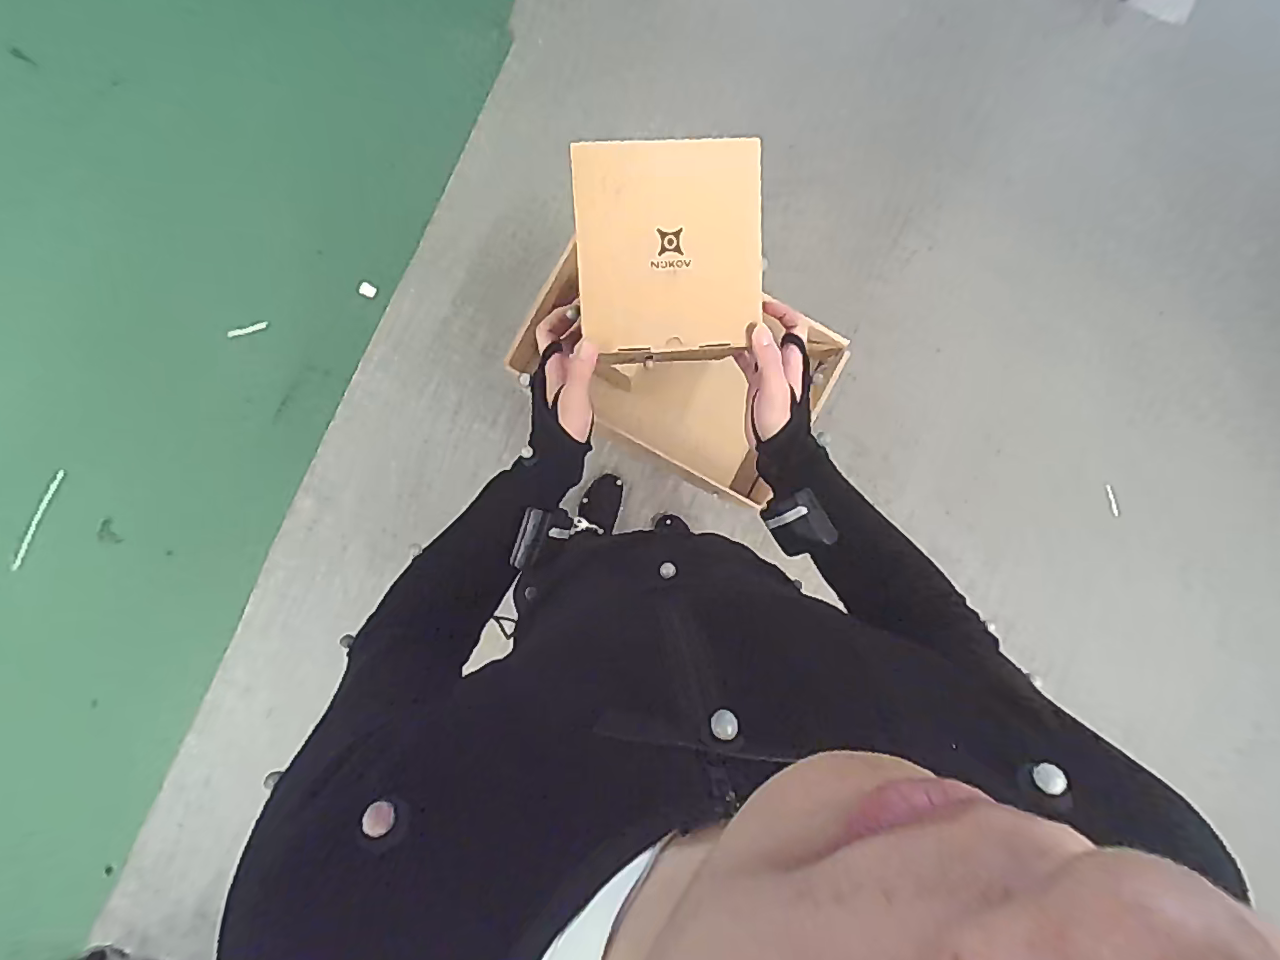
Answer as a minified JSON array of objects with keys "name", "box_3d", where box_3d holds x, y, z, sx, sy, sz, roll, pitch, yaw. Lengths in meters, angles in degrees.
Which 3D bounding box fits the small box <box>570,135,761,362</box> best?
[{"name":"small box","box_3d":[0.016,-0.216,0.545,0.168,0.176,0.179,-4,100,-5]}]
